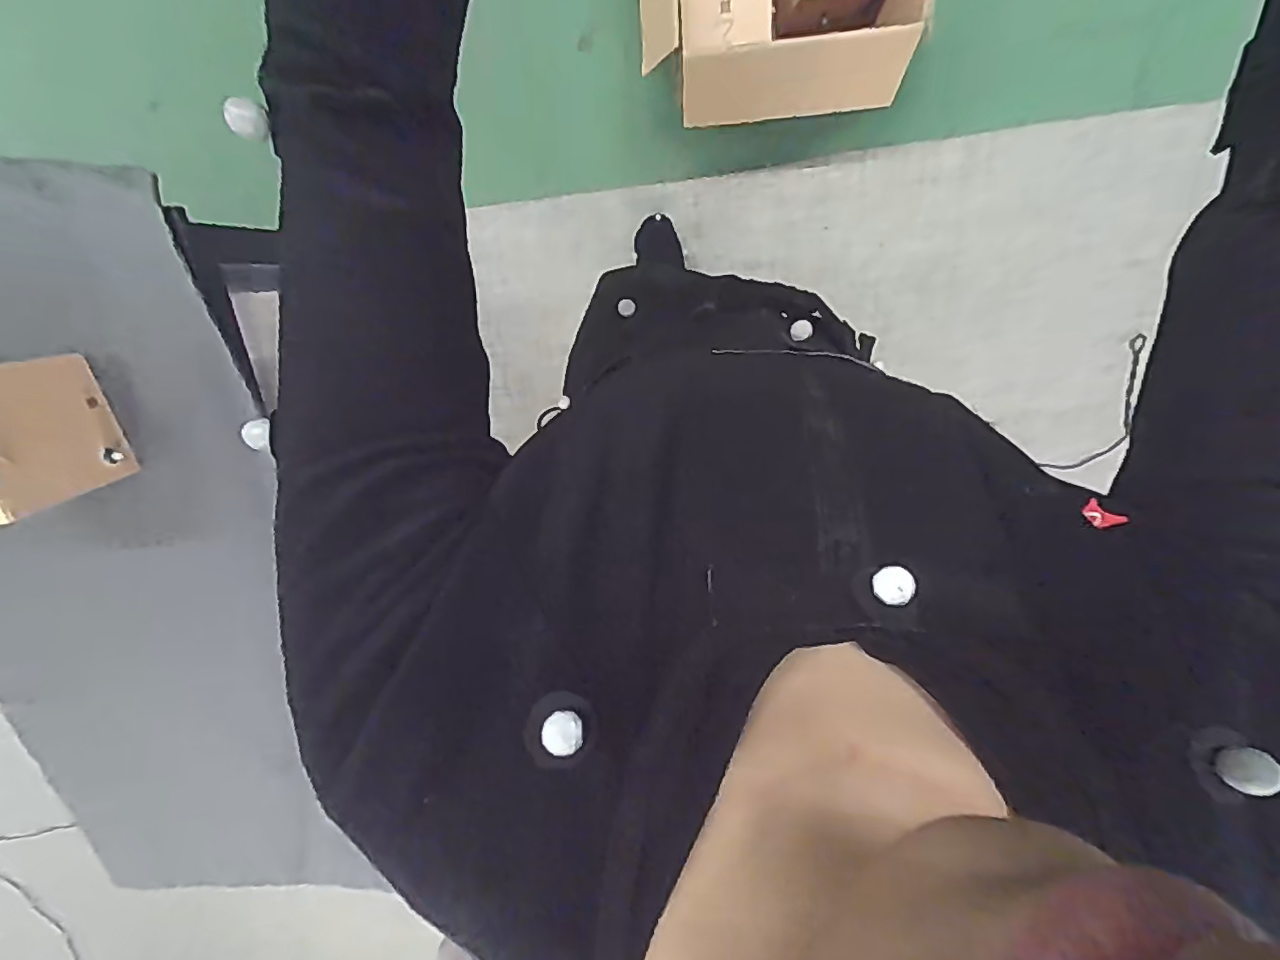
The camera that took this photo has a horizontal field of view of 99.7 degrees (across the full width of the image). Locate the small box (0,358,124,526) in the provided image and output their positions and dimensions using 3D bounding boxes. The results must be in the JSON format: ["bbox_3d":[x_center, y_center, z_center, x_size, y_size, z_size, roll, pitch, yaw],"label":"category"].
[{"bbox_3d":[-0.790,-0.046,0.652,0.179,0.176,0.168,-6,111,6],"label":"small box"}]
